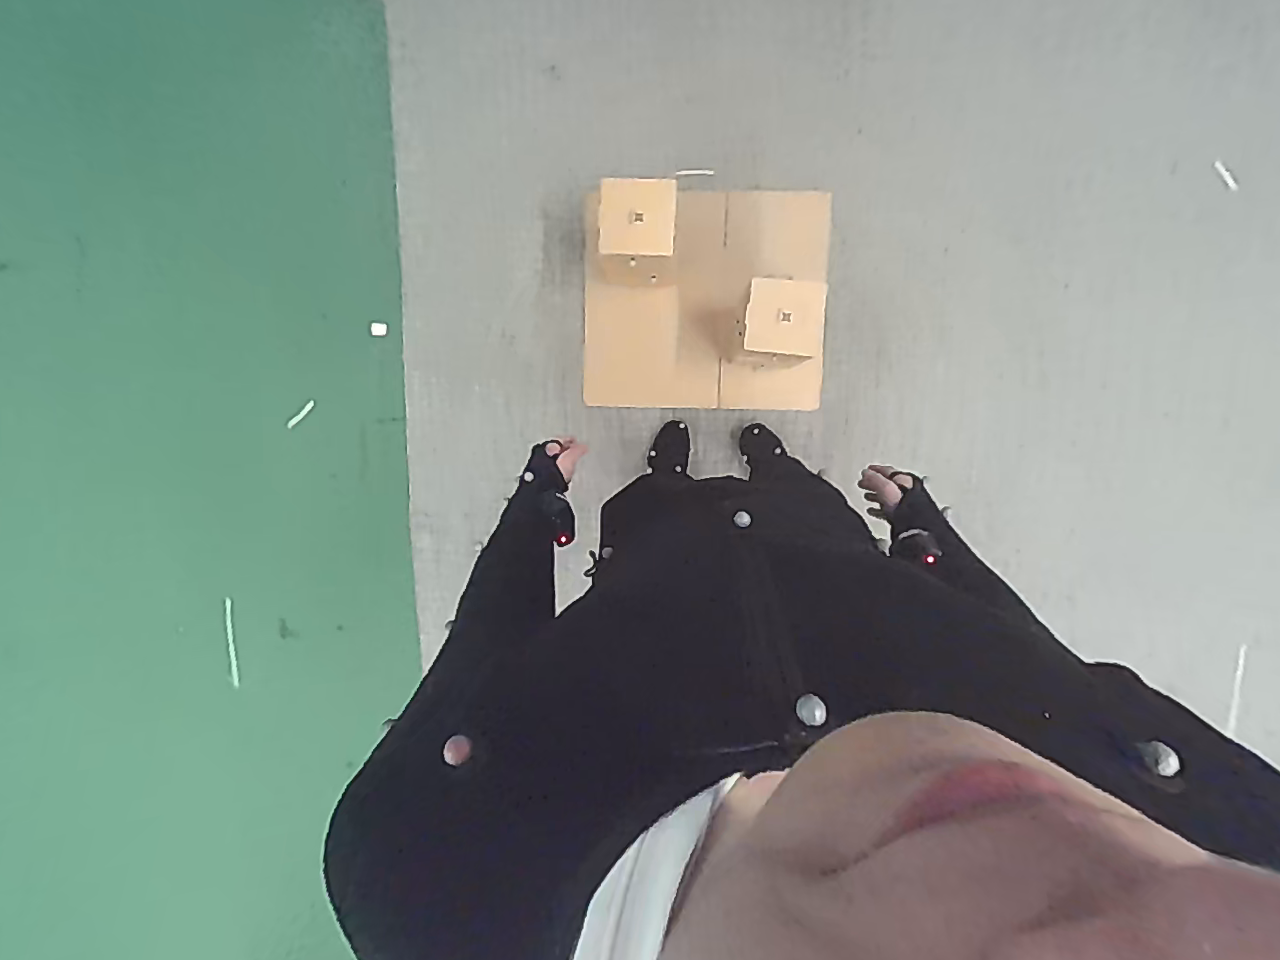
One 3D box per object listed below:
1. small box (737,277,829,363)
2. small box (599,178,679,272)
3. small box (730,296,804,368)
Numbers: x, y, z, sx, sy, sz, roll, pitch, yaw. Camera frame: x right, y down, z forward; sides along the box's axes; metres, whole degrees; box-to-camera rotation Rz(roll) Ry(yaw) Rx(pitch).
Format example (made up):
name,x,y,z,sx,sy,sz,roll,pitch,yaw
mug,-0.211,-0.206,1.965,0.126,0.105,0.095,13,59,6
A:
name,x,y,z,sx,sy,sz,roll,pitch,yaw
small box,0.338,-0.381,1.315,0.179,0.176,0.168,7,98,3
small box,0.002,-0.608,1.306,0.179,0.176,0.168,3,98,4
small box,0.350,-0.398,1.477,0.179,0.176,0.168,5,97,3
